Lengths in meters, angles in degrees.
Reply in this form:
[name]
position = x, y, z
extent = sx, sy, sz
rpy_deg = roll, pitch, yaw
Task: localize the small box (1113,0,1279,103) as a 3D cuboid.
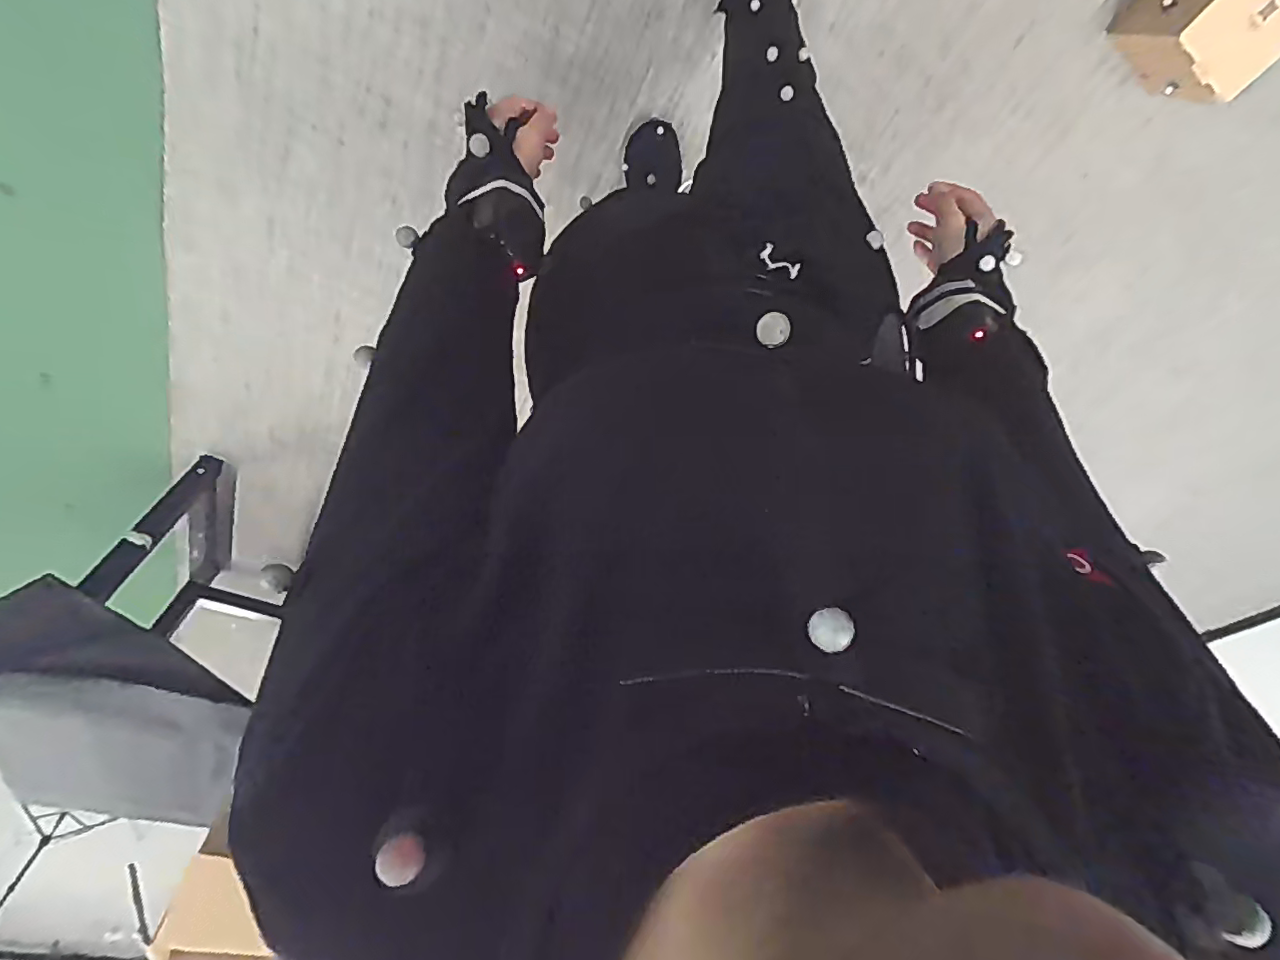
[small box]
position = 0.923, -0.754, 0.869
extent = 0.168, 0.176, 0.179
rpy_deg = 25, 125, -22
